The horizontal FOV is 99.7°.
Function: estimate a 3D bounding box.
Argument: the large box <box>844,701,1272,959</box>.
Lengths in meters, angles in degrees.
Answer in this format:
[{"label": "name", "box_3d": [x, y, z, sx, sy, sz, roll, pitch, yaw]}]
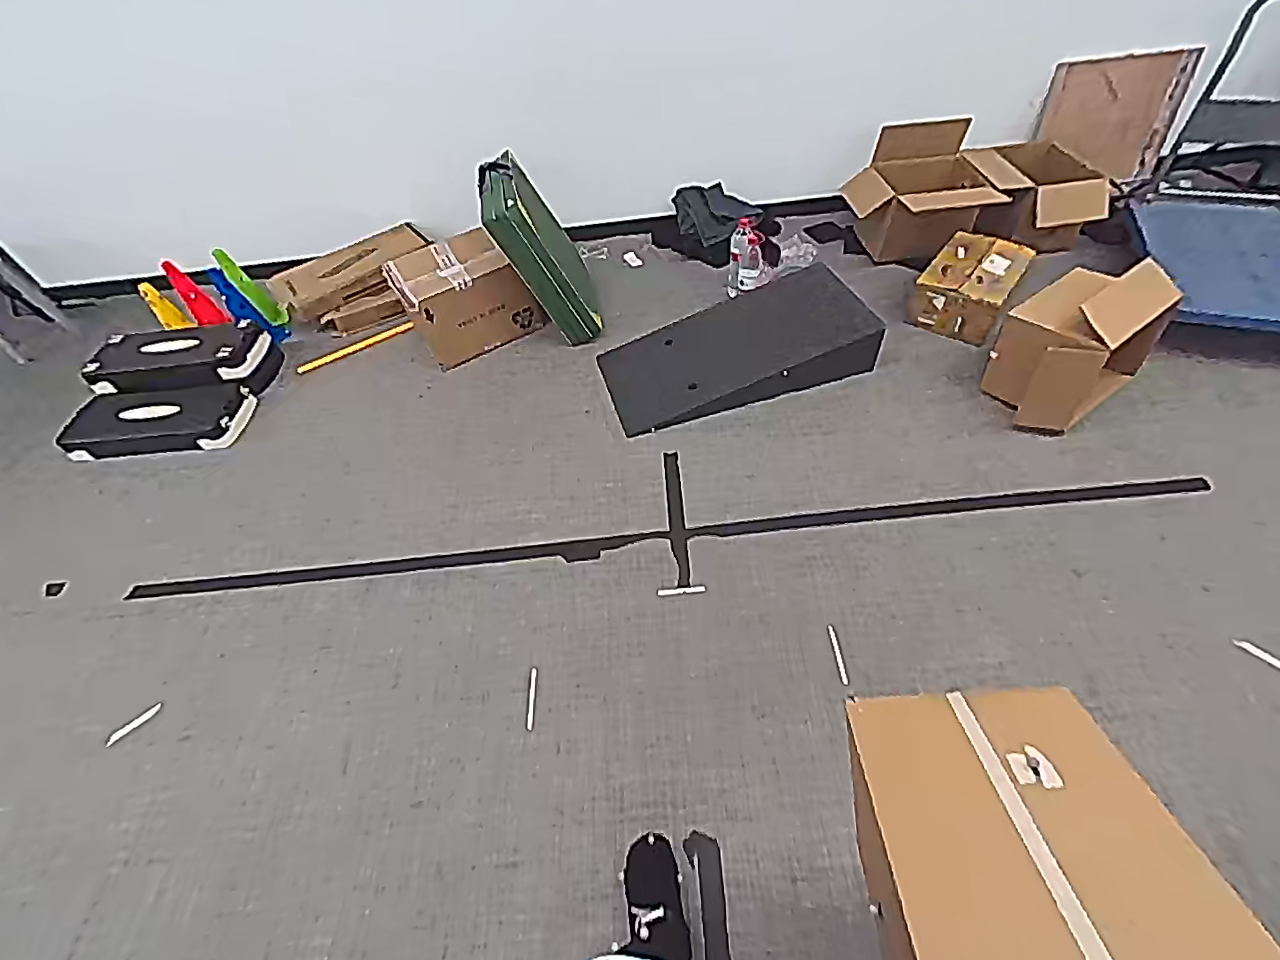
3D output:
[{"label": "large box", "box_3d": [0.473, 0.553, 0.691, 0.320, 0.320, 0.408, -6, 19, 11]}]
